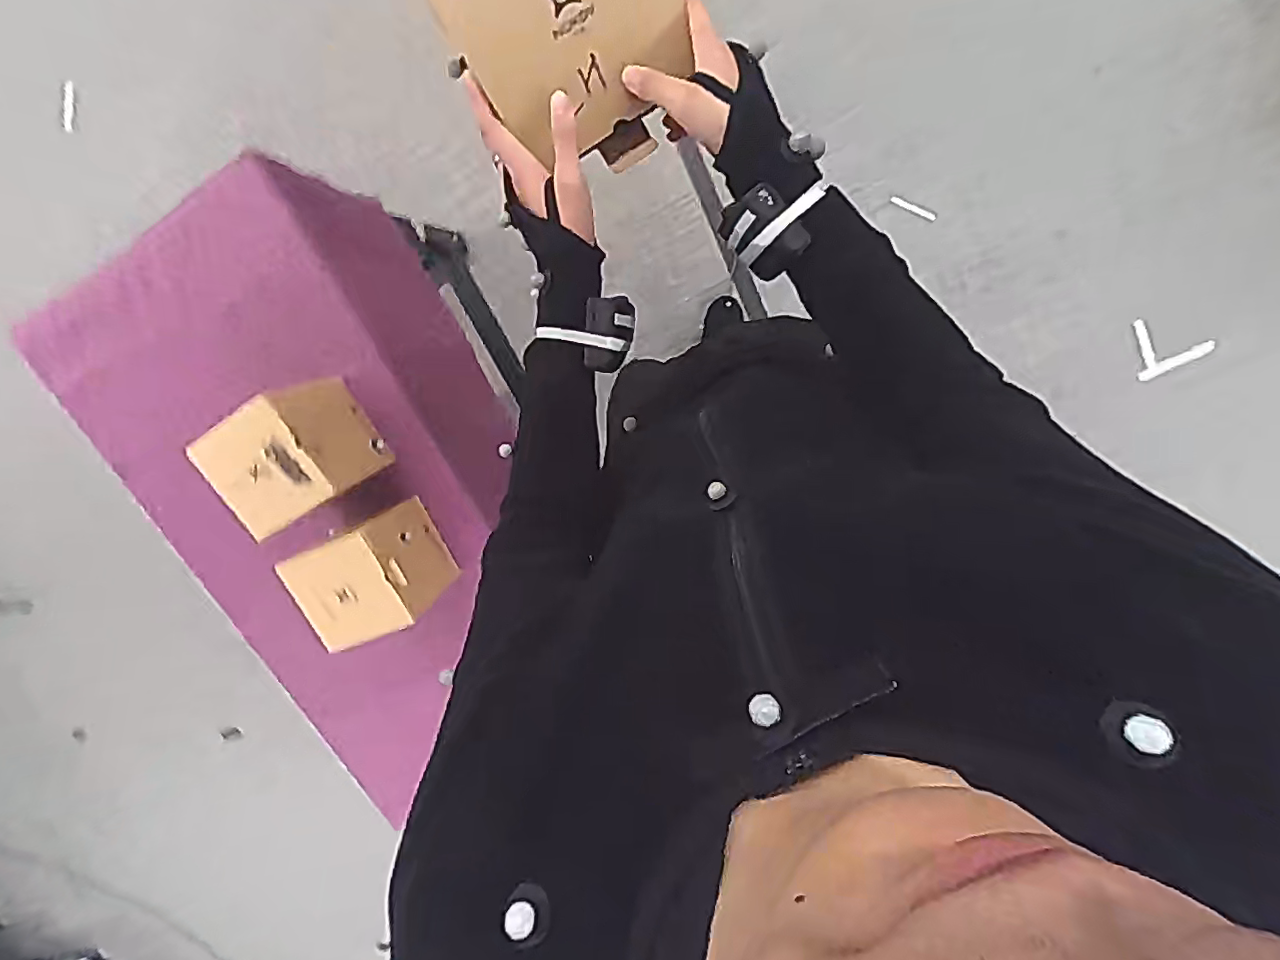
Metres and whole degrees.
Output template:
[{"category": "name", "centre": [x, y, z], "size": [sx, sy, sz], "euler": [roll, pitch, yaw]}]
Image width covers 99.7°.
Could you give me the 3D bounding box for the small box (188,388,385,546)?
[{"category": "small box", "centre": [-0.543, -0.030, 0.865], "size": [0.179, 0.176, 0.168], "euler": [-29, 103, 16]}]
